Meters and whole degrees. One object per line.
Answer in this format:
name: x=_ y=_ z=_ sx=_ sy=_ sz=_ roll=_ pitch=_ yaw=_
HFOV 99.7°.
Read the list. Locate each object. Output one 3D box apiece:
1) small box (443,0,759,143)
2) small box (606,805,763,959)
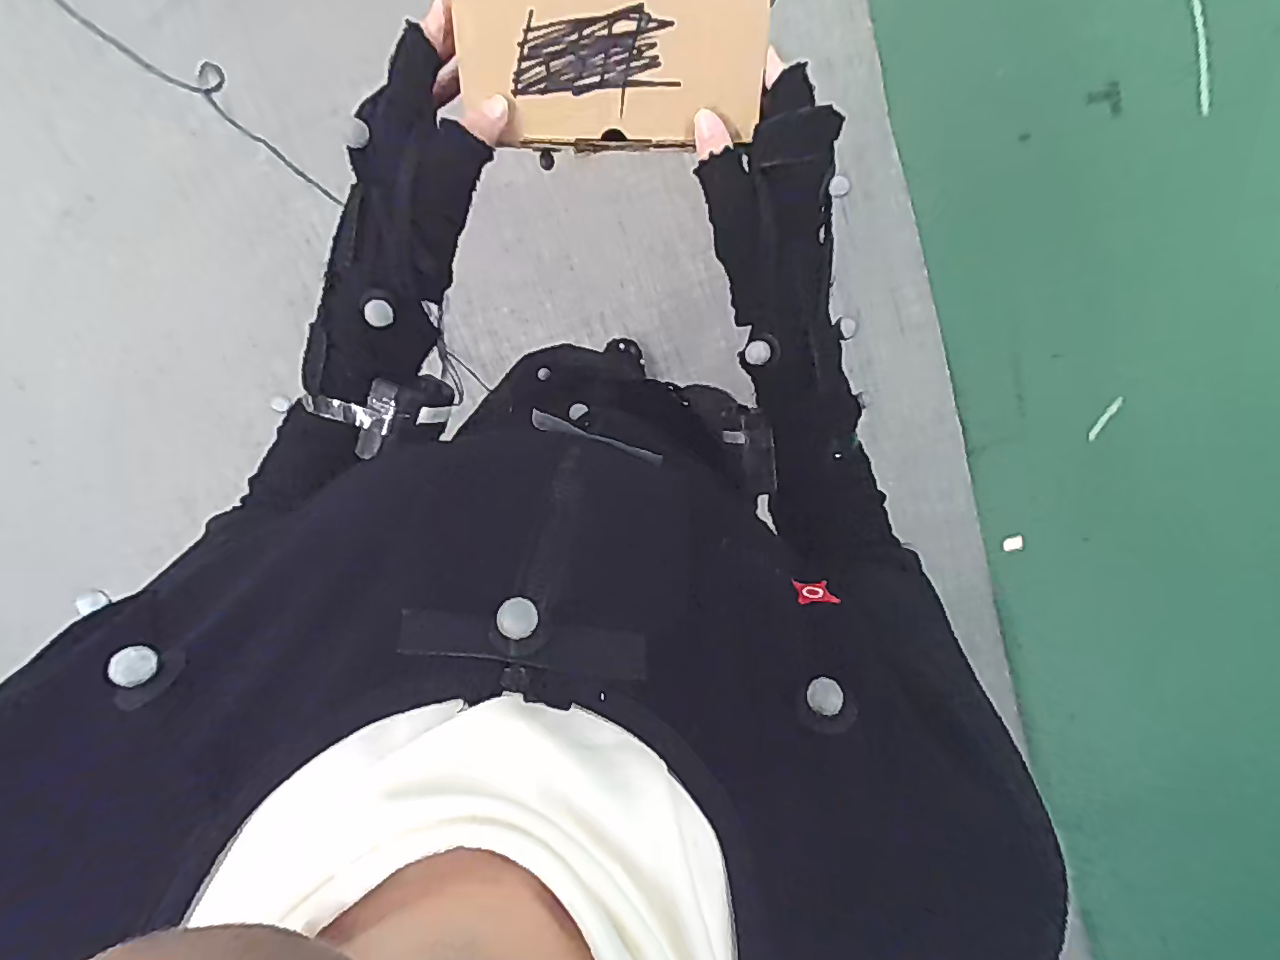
small box: x=-0.021 y=-0.312 z=0.332 sx=0.168 sy=0.176 sz=0.179 roll=-1 pitch=120 yaw=-3
small box: x=0.069 y=0.678 z=0.871 sx=0.168 sy=0.176 sz=0.179 roll=-43 pitch=93 yaw=7
